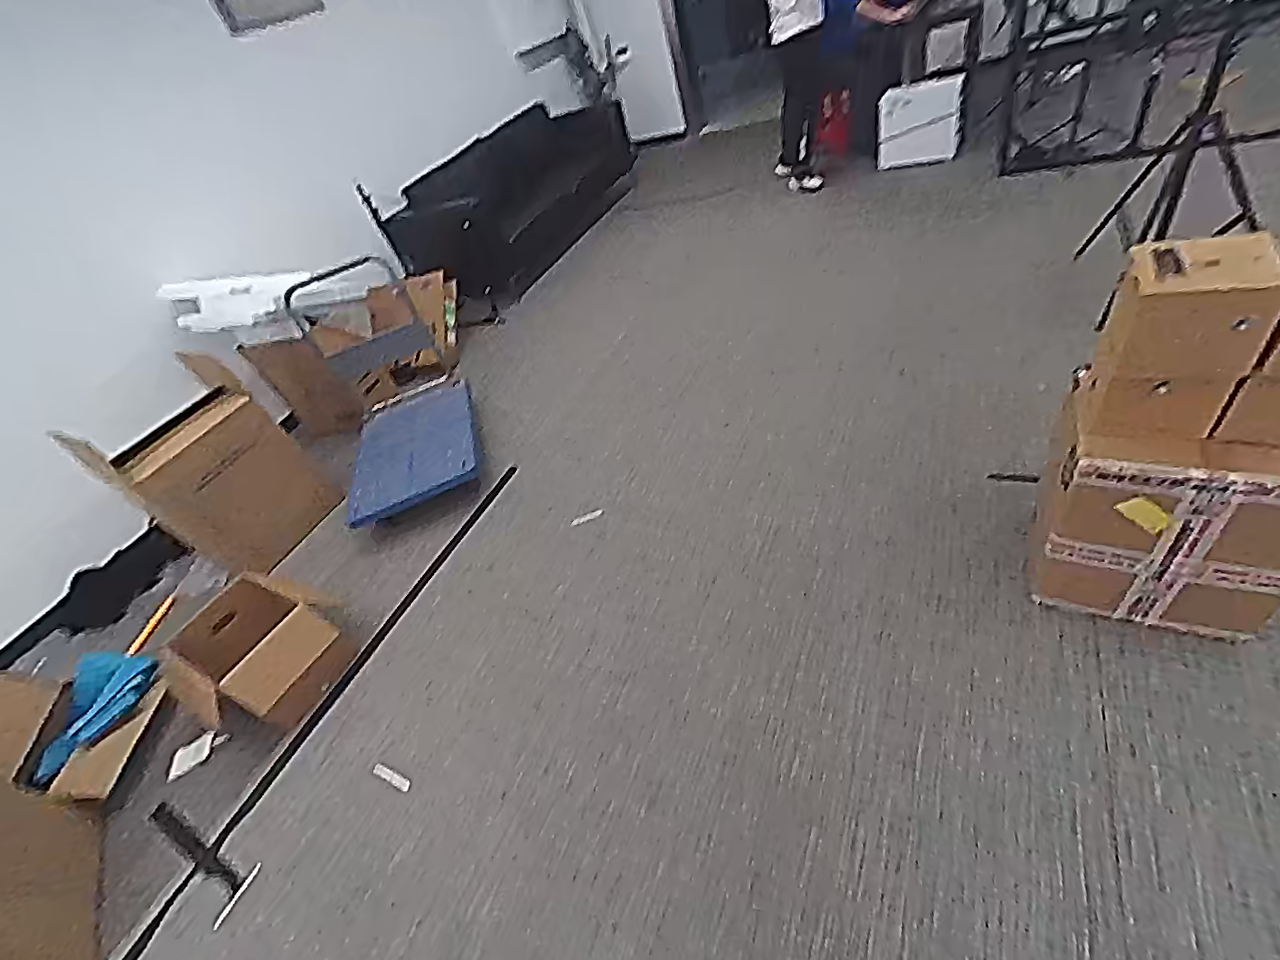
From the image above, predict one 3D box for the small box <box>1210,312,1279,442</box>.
[{"bbox_3d":[1.151,-0.176,0.950,0.179,0.176,0.168,14,54,32],"label":"small box"}]
